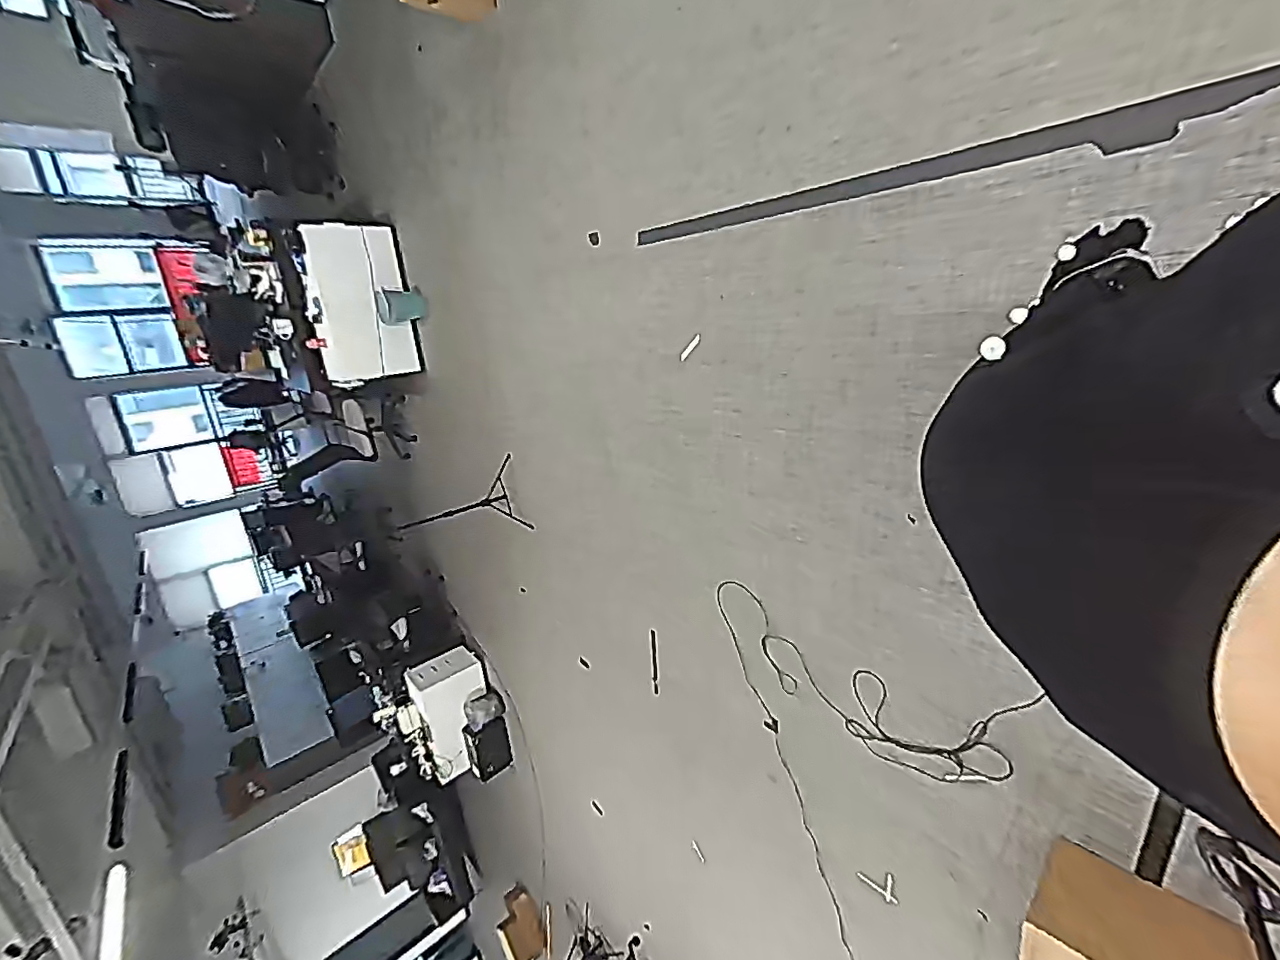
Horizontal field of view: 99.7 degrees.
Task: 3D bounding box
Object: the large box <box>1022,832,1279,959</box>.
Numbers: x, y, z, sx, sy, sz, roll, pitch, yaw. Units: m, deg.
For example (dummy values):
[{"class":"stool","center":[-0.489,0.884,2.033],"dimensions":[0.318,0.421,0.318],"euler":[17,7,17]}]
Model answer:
[{"class":"large box","center":[1.199,1.171,1.293],"dimensions":[0.408,0.320,0.320],"euler":[11,113,49]}]
